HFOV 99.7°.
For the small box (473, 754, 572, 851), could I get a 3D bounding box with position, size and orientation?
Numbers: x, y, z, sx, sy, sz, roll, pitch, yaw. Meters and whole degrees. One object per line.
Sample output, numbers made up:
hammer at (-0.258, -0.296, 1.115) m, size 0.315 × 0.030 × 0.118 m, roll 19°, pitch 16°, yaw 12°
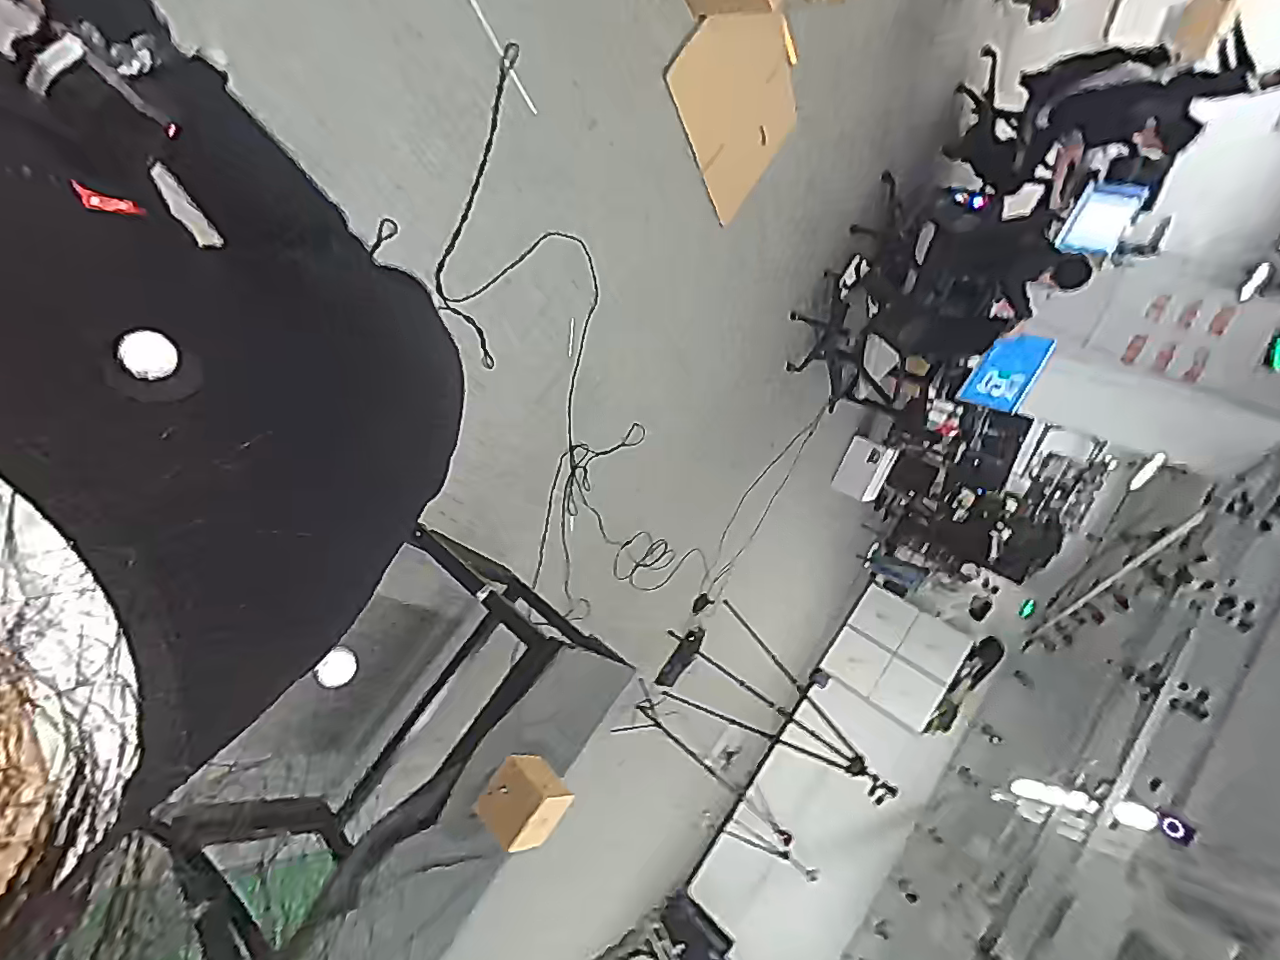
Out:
small box at (-0.333, 0.905, 1.535) m, size 0.168 × 0.176 × 0.179 m, roll -53°, pitch 147°, yaw -9°
